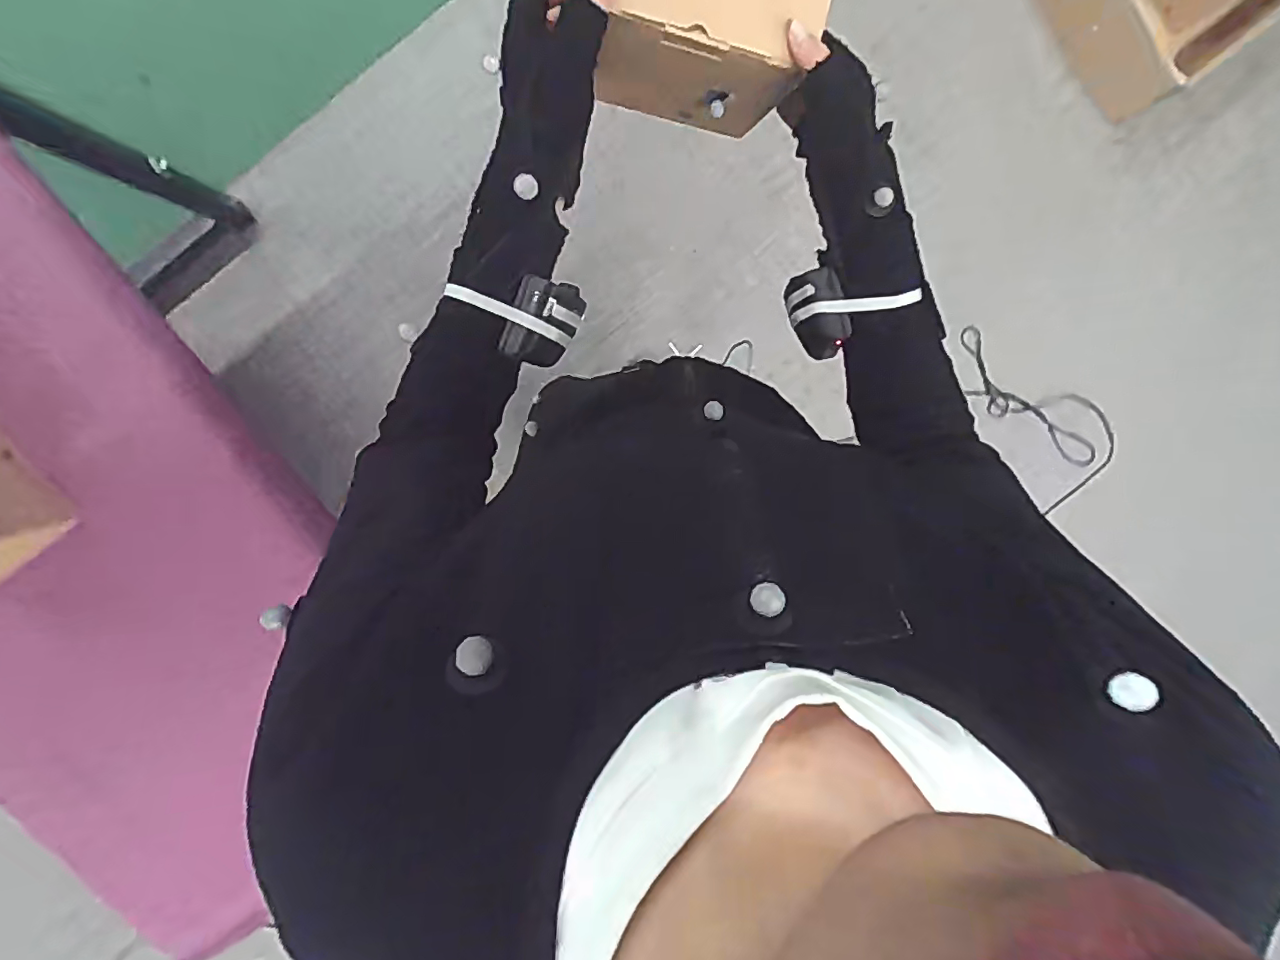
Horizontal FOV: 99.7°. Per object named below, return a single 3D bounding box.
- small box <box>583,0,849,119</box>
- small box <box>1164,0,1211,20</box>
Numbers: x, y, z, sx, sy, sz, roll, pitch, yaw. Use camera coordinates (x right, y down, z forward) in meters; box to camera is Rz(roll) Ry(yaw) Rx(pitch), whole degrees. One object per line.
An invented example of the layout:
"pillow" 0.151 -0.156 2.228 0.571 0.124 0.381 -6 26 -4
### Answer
"small box" 0.055 -0.390 0.380 0.168 0.176 0.179 10 107 -11
"small box" 1.283 -1.184 1.186 0.179 0.176 0.168 -43 97 4
